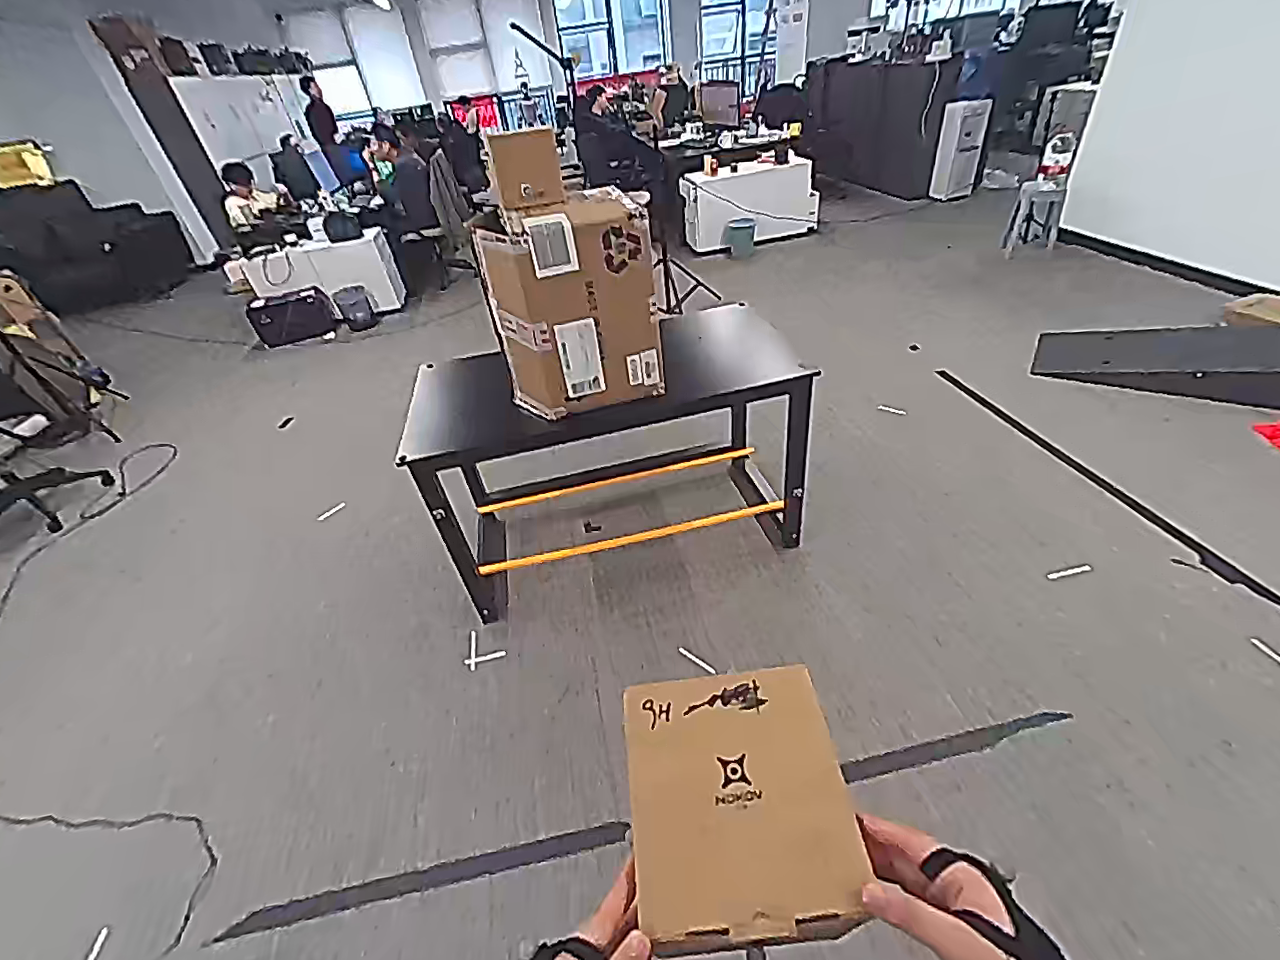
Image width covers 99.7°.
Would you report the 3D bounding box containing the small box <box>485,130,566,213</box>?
[{"bbox_3d":[-0.303,-0.815,1.428,0.168,0.176,0.179,-16,37,-11],"label":"small box"}]
